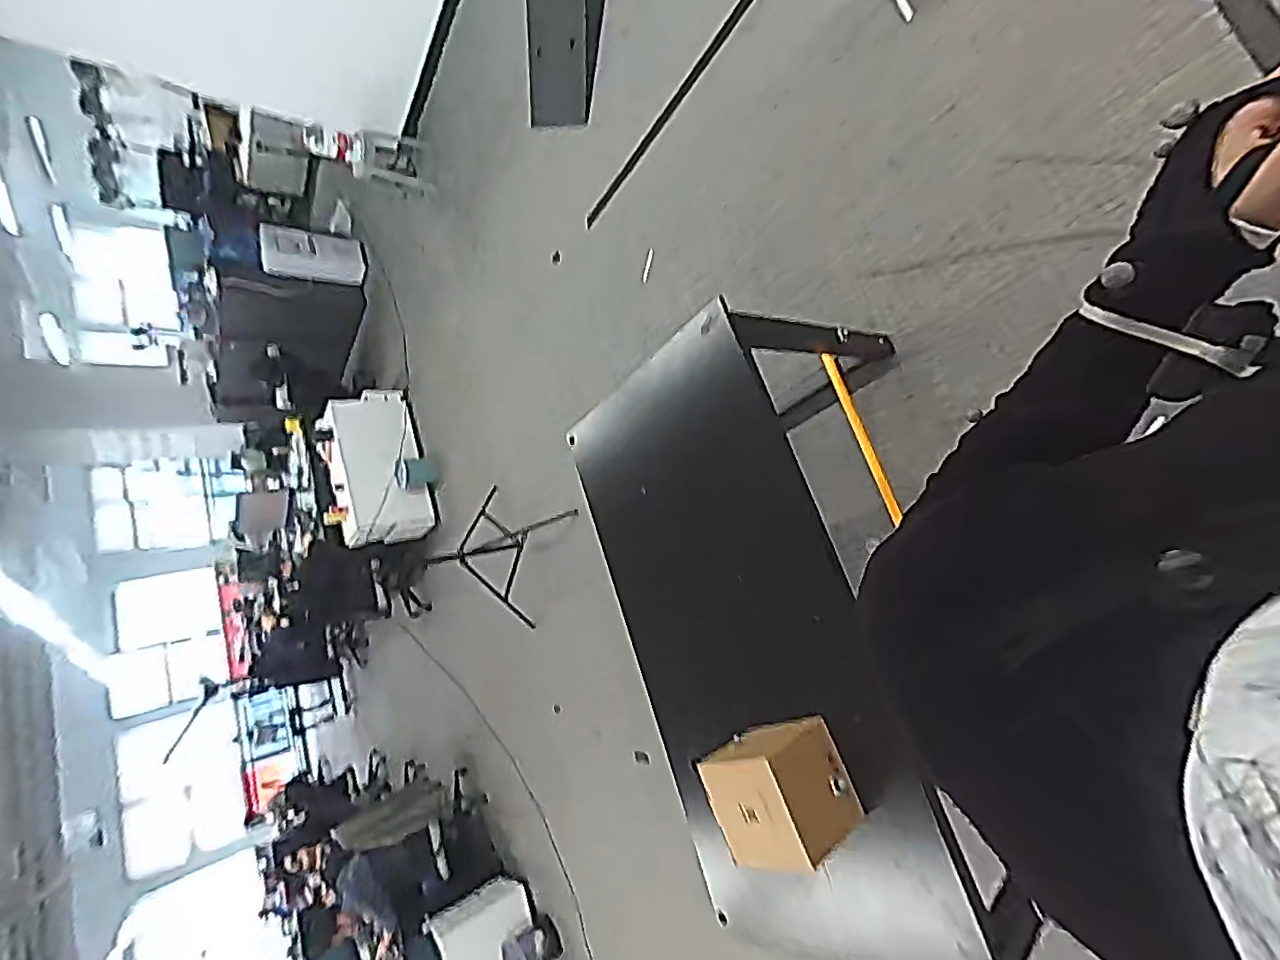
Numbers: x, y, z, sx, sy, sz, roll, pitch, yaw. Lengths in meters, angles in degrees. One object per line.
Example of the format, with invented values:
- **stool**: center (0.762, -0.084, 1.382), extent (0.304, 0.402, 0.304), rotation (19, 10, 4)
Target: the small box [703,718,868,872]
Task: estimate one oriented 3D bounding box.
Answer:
- **small box**: center (0.246, 0.529, 0.921), extent (0.179, 0.176, 0.168), rotation (-40, 67, 44)
